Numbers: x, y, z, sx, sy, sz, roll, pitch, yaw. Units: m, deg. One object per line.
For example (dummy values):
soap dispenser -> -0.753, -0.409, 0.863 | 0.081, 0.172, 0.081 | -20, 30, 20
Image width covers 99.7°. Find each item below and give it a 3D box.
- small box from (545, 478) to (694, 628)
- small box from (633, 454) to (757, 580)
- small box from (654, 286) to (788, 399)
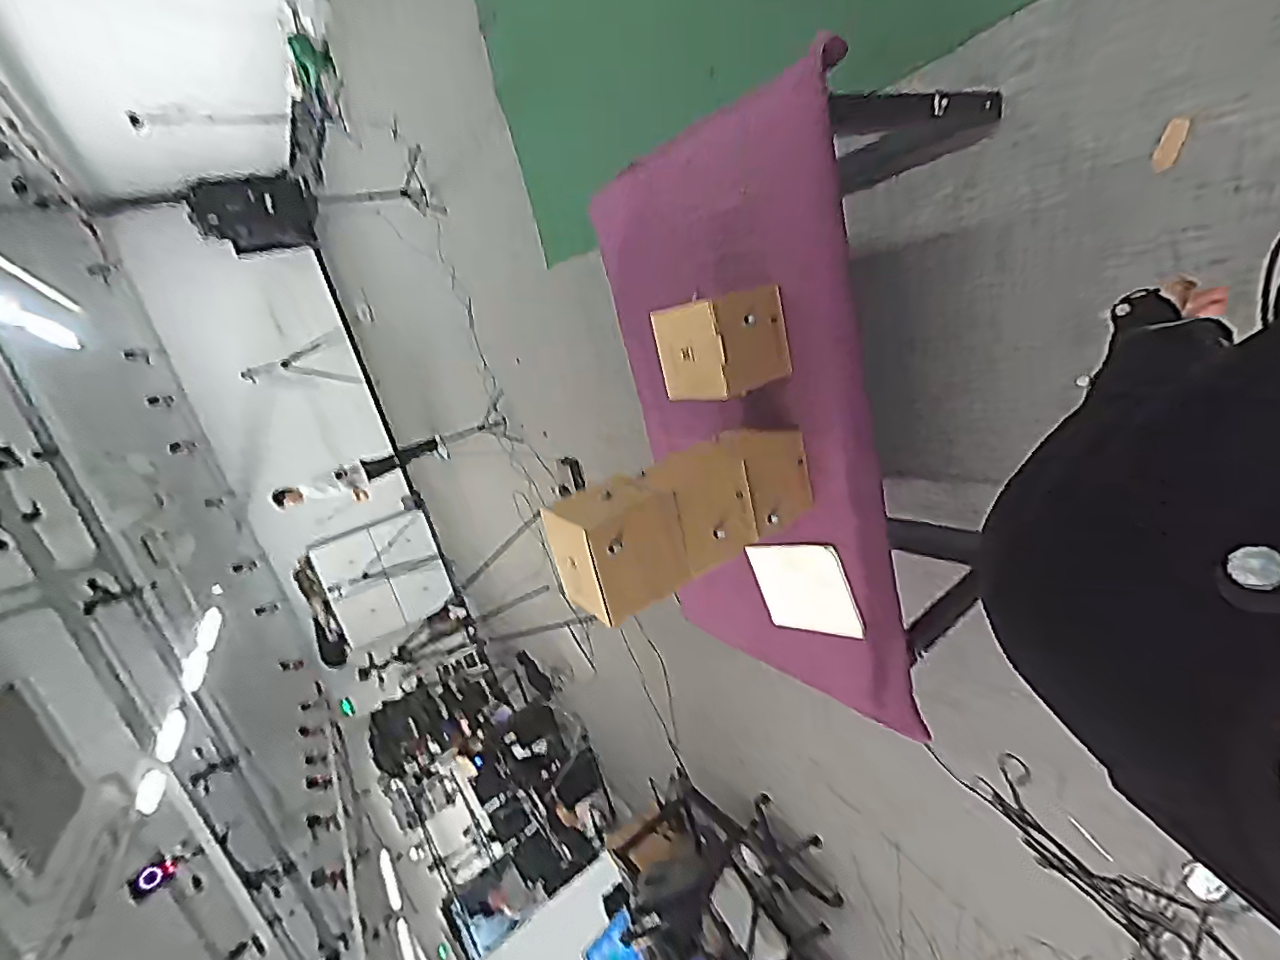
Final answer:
small box -> -0.032, 0.110, 0.912 | 0.168, 0.176, 0.179 | 16, 124, 56
small box -> 0.098, 0.057, 0.999 | 0.179, 0.176, 0.168 | 12, 121, 56
small box -> 0.157, -0.253, 1.010 | 0.179, 0.176, 0.168 | 12, 120, 57
